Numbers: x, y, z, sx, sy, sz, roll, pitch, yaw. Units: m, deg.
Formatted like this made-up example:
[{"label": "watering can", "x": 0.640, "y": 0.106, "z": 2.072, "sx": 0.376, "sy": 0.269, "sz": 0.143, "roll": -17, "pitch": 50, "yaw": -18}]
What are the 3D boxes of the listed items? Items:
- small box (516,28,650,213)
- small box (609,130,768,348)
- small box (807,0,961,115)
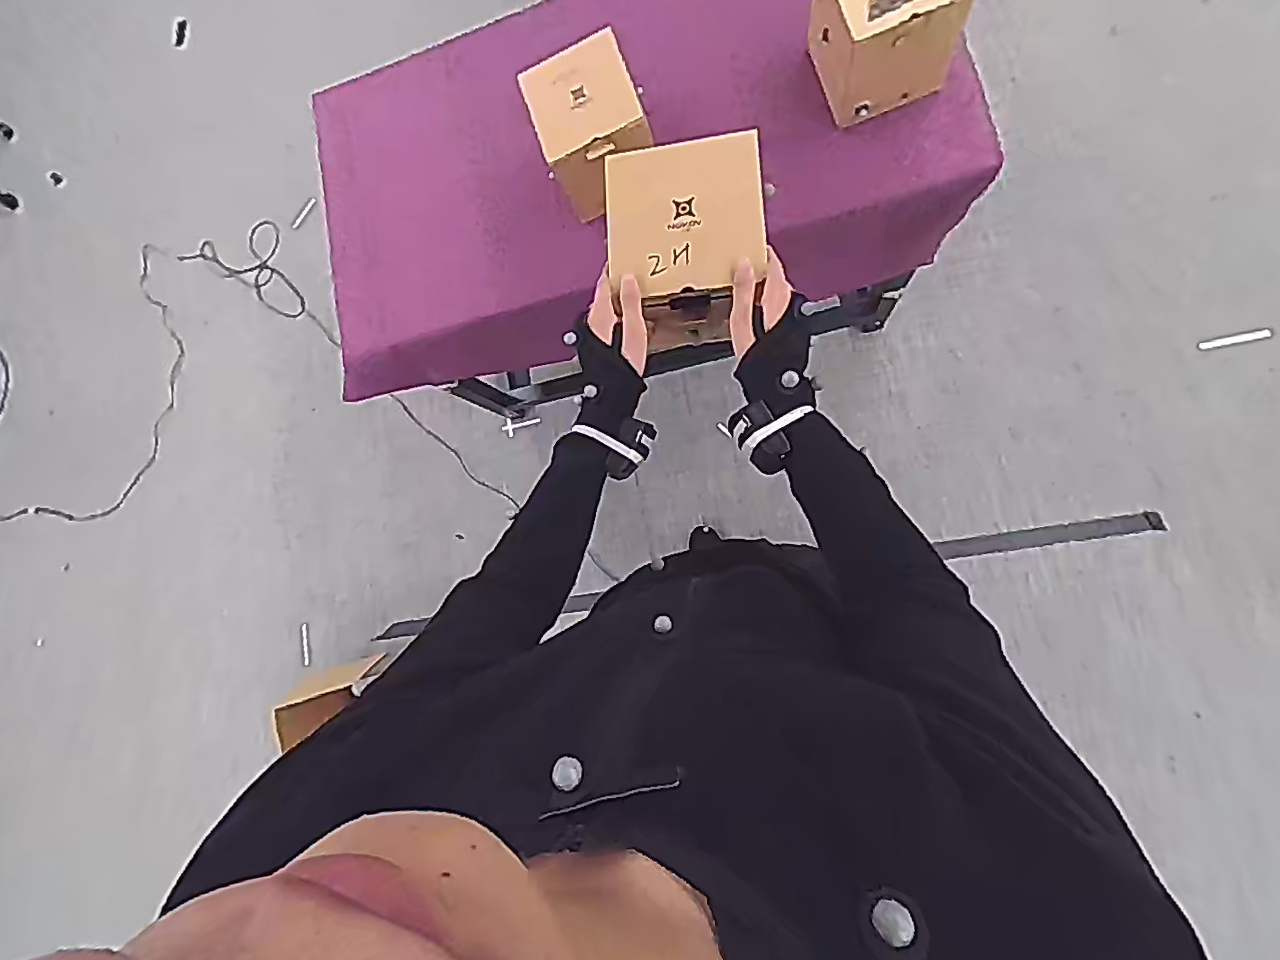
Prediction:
[{"label": "small box", "x": -0.081, "y": -0.588, "z": 0.916, "sx": 0.168, "sy": 0.176, "sz": 0.179, "roll": -21, "pitch": 80, "yaw": 10}, {"label": "small box", "x": 0.062, "y": -0.273, "z": 0.652, "sx": 0.168, "sy": 0.176, "sz": 0.179, "roll": -3, "pitch": 89, "yaw": 11}, {"label": "small box", "x": 0.362, "y": -0.703, "z": 0.824, "sx": 0.168, "sy": 0.176, "sz": 0.179, "roll": -17, "pitch": 80, "yaw": 11}]
